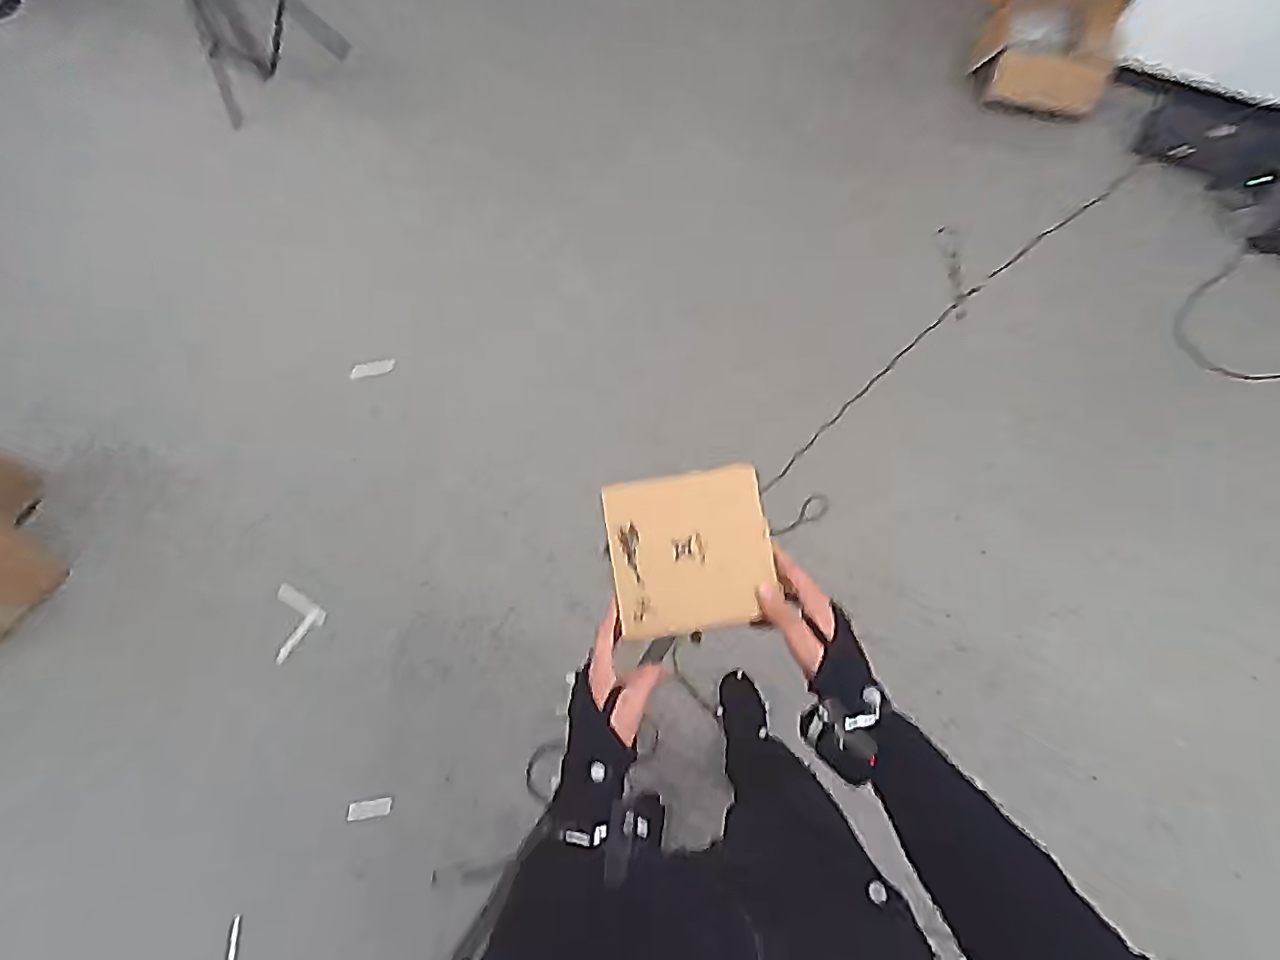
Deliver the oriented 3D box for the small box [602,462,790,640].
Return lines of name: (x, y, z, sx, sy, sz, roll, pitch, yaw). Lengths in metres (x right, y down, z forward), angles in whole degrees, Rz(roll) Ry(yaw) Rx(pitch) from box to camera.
small box: (0.055, 0.091, 0.646, 0.179, 0.176, 0.168, -10, 74, -4)
